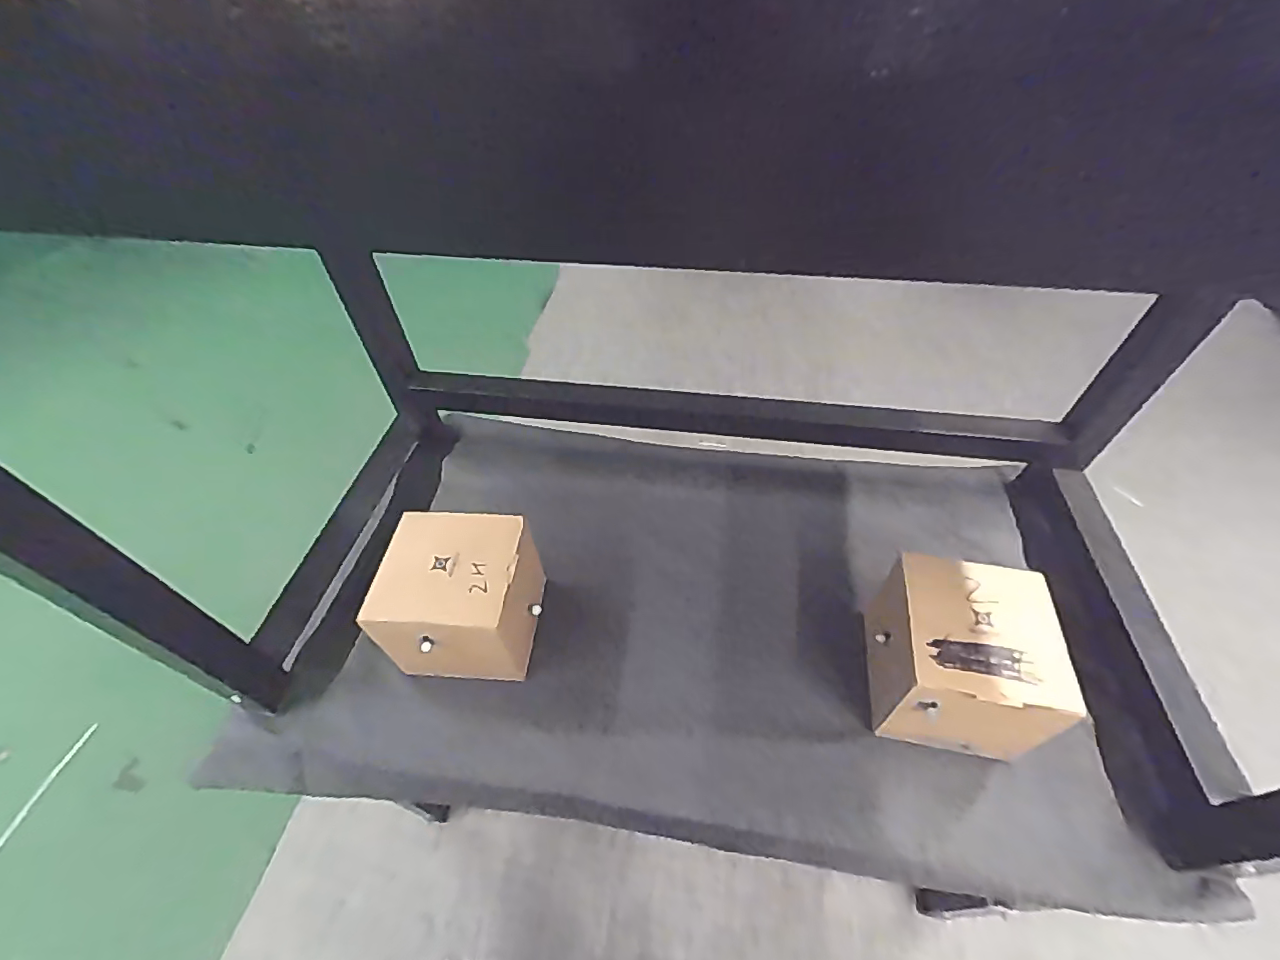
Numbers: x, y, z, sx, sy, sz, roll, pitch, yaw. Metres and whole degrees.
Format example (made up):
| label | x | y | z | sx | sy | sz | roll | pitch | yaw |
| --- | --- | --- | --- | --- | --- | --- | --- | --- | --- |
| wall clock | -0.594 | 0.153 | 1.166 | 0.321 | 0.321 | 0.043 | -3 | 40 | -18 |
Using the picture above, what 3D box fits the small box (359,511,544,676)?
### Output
| label | x | y | z | sx | sy | sz | roll | pitch | yaw |
| --- | --- | --- | --- | --- | --- | --- | --- | --- | --- |
| small box | -0.245 | 0.161 | 0.755 | 0.179 | 0.176 | 0.168 | 3 | 50 | 4 |
